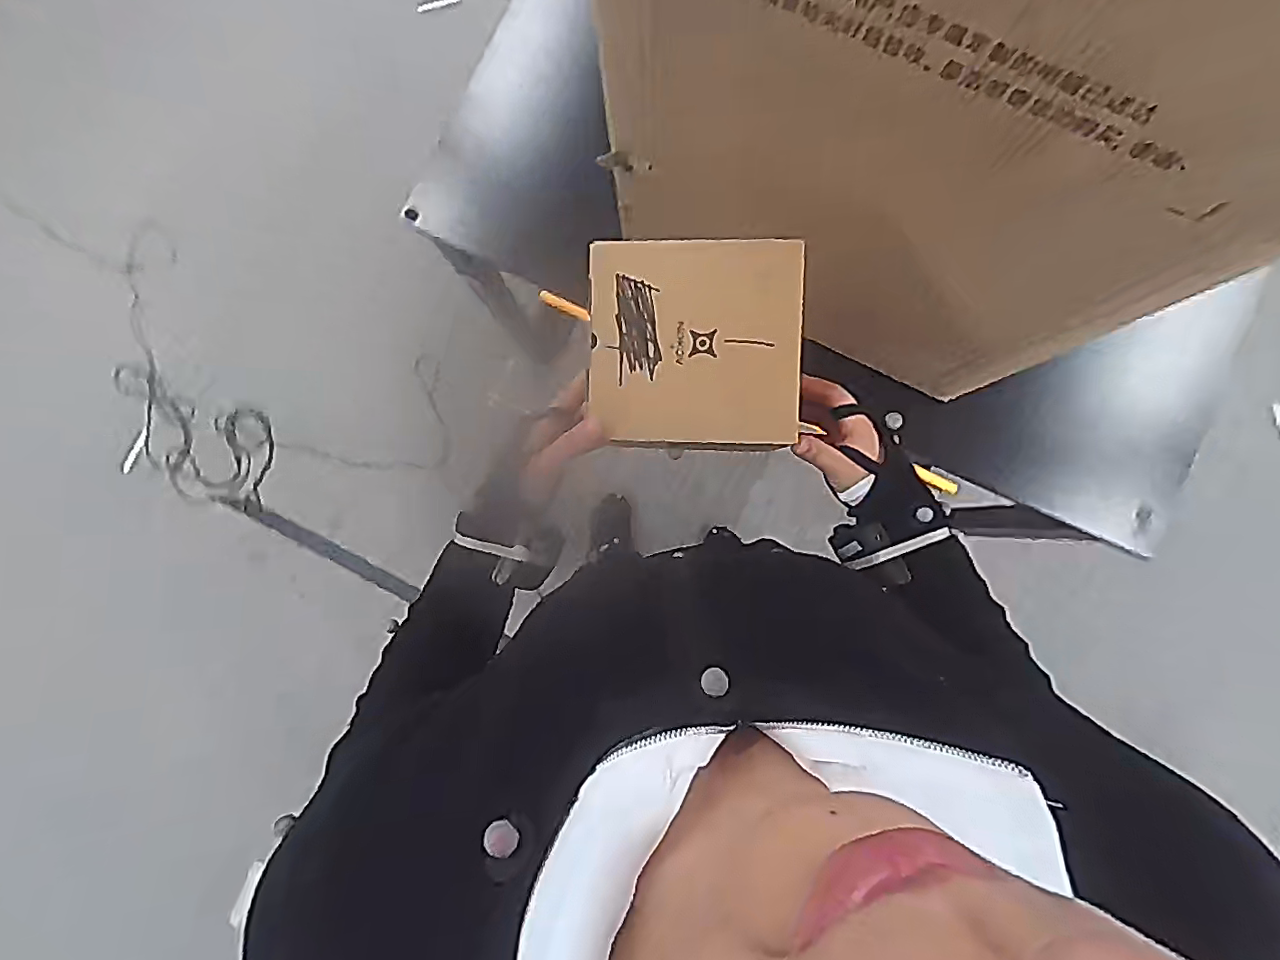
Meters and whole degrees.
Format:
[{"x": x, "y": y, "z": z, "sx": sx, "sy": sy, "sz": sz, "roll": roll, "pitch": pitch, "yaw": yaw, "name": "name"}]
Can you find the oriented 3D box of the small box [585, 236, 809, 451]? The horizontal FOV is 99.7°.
[{"x": 0.053, "y": -0.115, "z": 0.518, "sx": 0.179, "sy": 0.176, "sz": 0.168, "roll": 3, "pitch": 91, "yaw": 5, "name": "small box"}]
